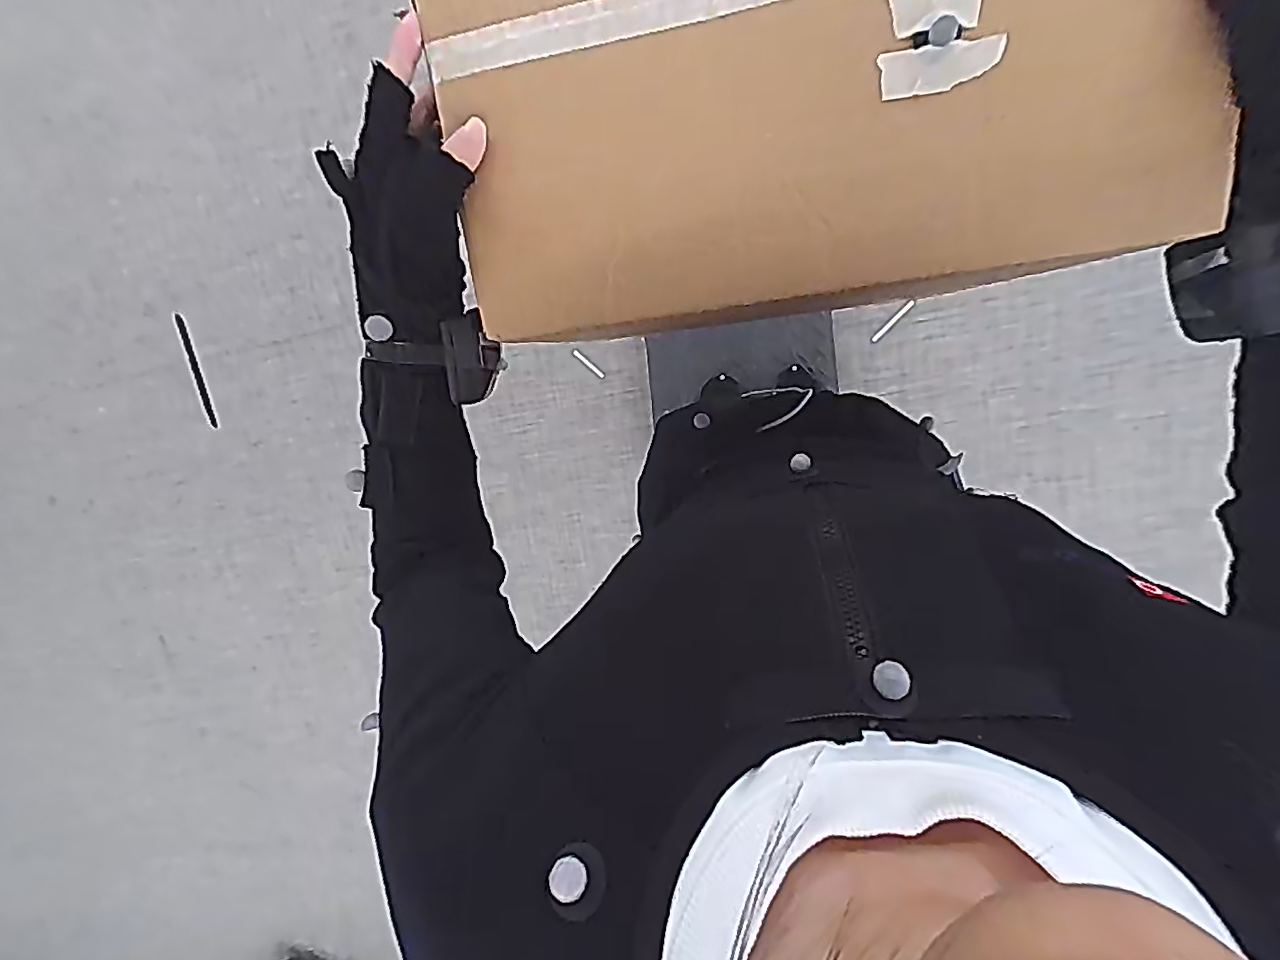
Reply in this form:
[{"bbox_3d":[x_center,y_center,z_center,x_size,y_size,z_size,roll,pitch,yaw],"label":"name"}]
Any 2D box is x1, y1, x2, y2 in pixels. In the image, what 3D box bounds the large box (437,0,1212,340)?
[{"bbox_3d":[0.099,-0.301,0.433,0.408,0.320,0.320,-6,104,9],"label":"large box"}]
